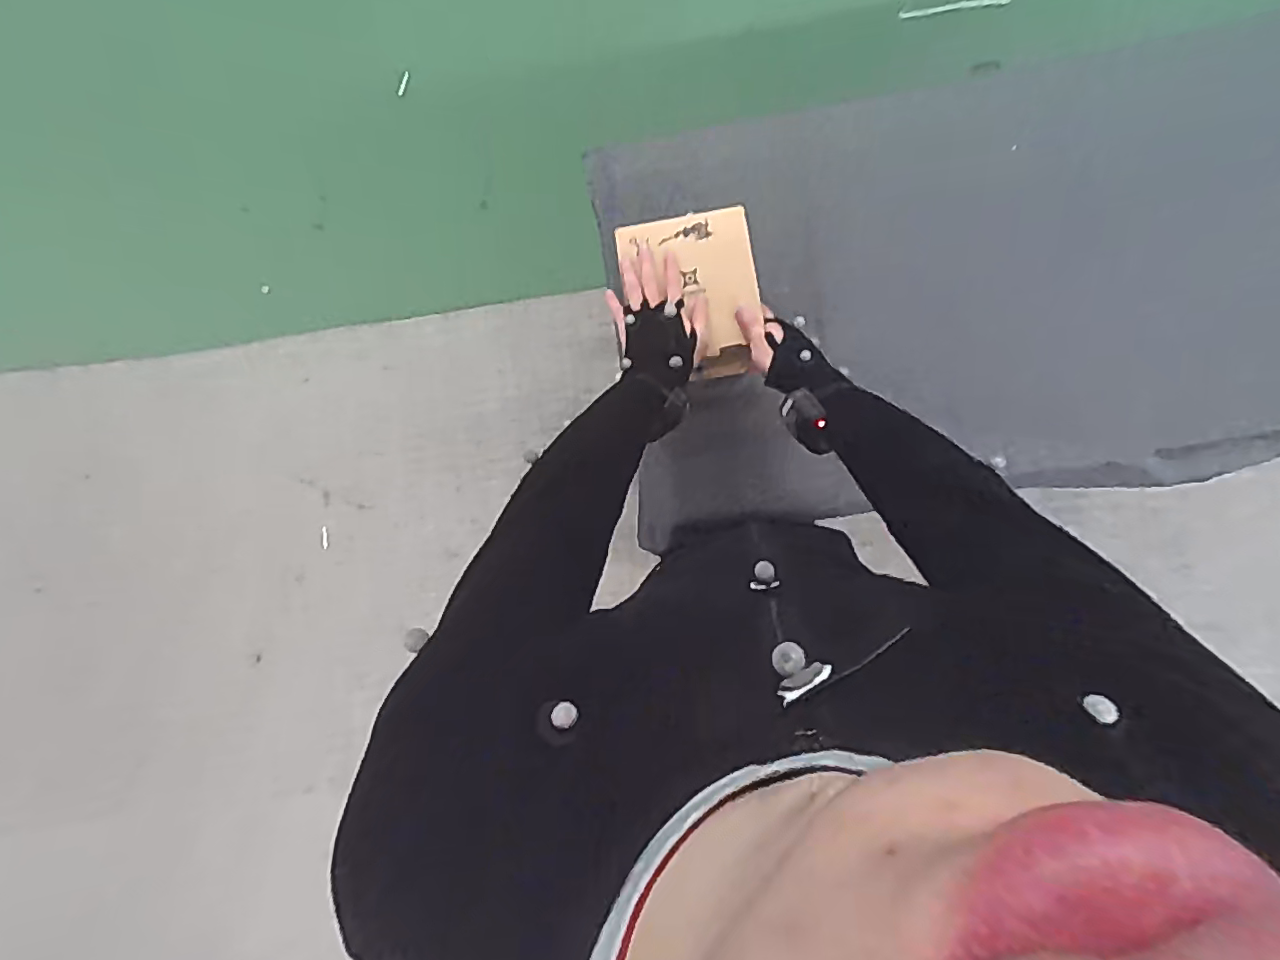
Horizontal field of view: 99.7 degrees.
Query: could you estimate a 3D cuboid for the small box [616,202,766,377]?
[{"bbox_3d":[0.065,-0.246,0.745,0.168,0.176,0.179,-10,90,0],"label":"small box"}]
